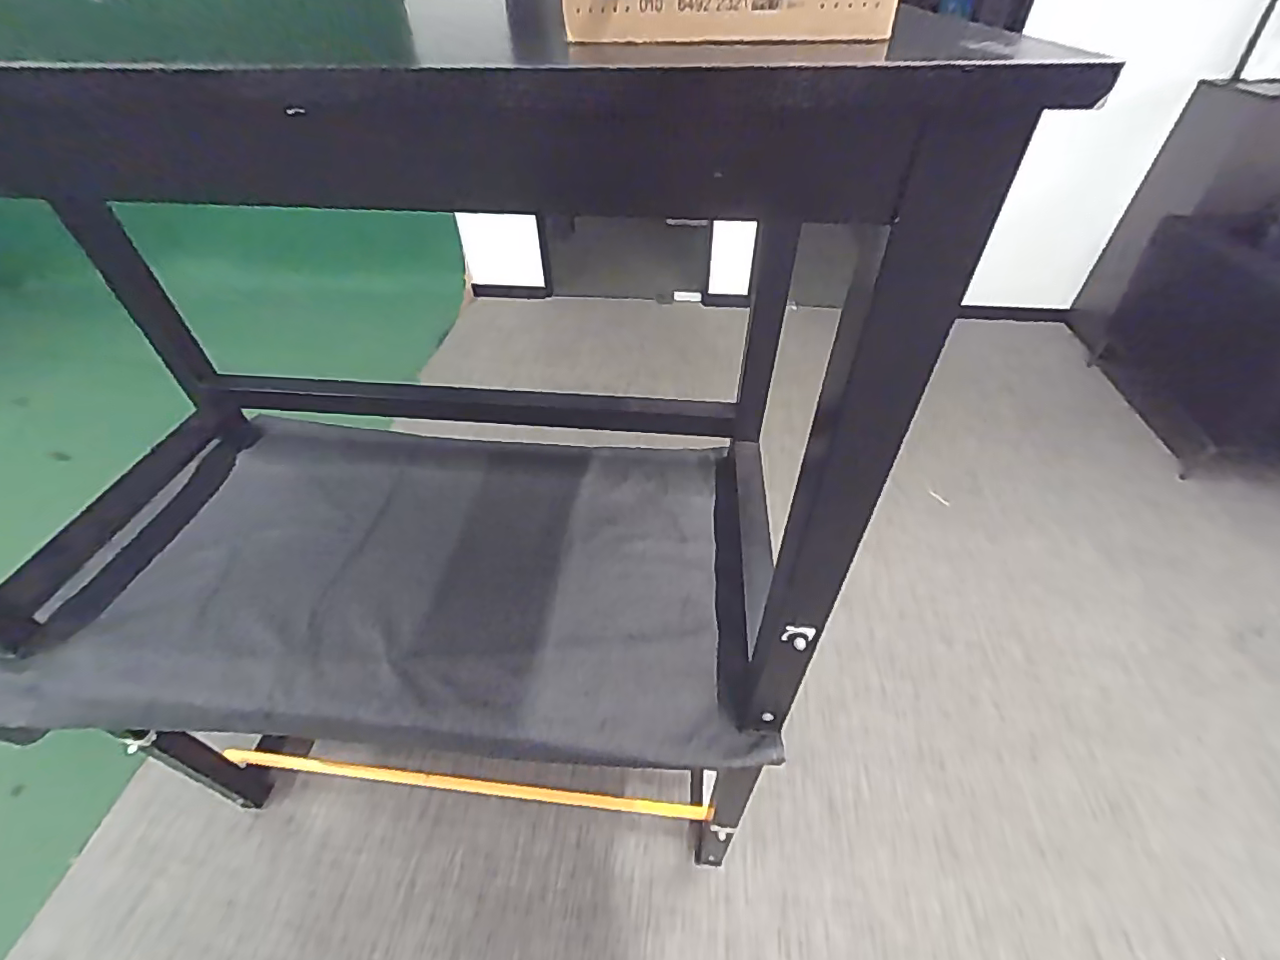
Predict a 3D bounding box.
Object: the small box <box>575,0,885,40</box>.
[{"bbox_3d":[0.053,-0.346,0.286,0.168,0.176,0.179,6,43,7],"label":"small box"}]
